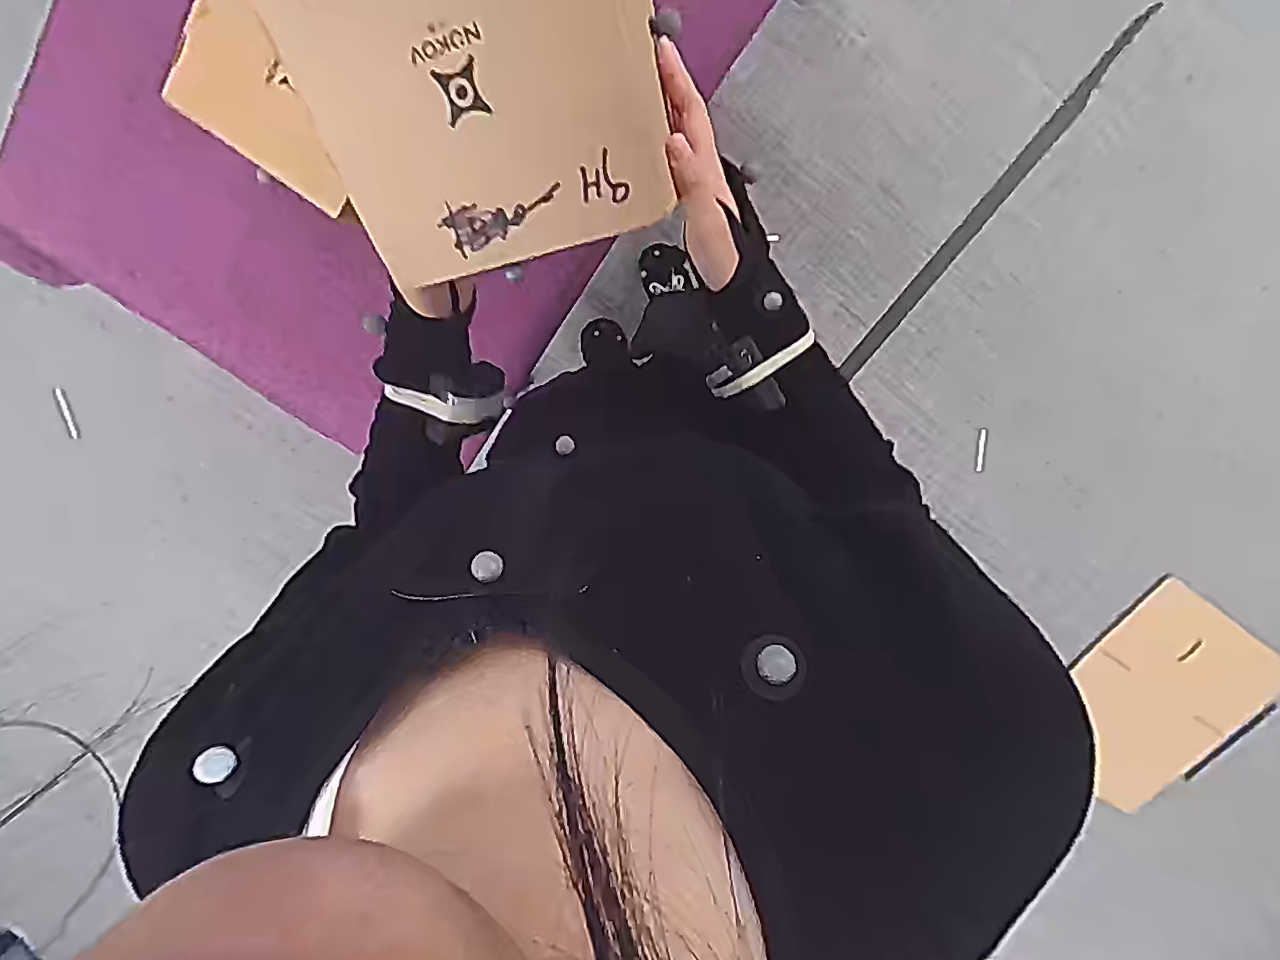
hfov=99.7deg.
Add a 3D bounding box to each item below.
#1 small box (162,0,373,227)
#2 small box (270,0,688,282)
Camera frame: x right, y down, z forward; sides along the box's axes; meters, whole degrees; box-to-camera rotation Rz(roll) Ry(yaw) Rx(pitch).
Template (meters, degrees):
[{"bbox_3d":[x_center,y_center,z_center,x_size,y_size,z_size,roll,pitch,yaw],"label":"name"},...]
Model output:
[{"bbox_3d":[-0.308,-0.380,0.551,0.179,0.176,0.168,34,104,-9],"label":"small box"},{"bbox_3d":[-0.070,-0.239,0.316,0.168,0.176,0.179,-8,123,14],"label":"small box"}]
